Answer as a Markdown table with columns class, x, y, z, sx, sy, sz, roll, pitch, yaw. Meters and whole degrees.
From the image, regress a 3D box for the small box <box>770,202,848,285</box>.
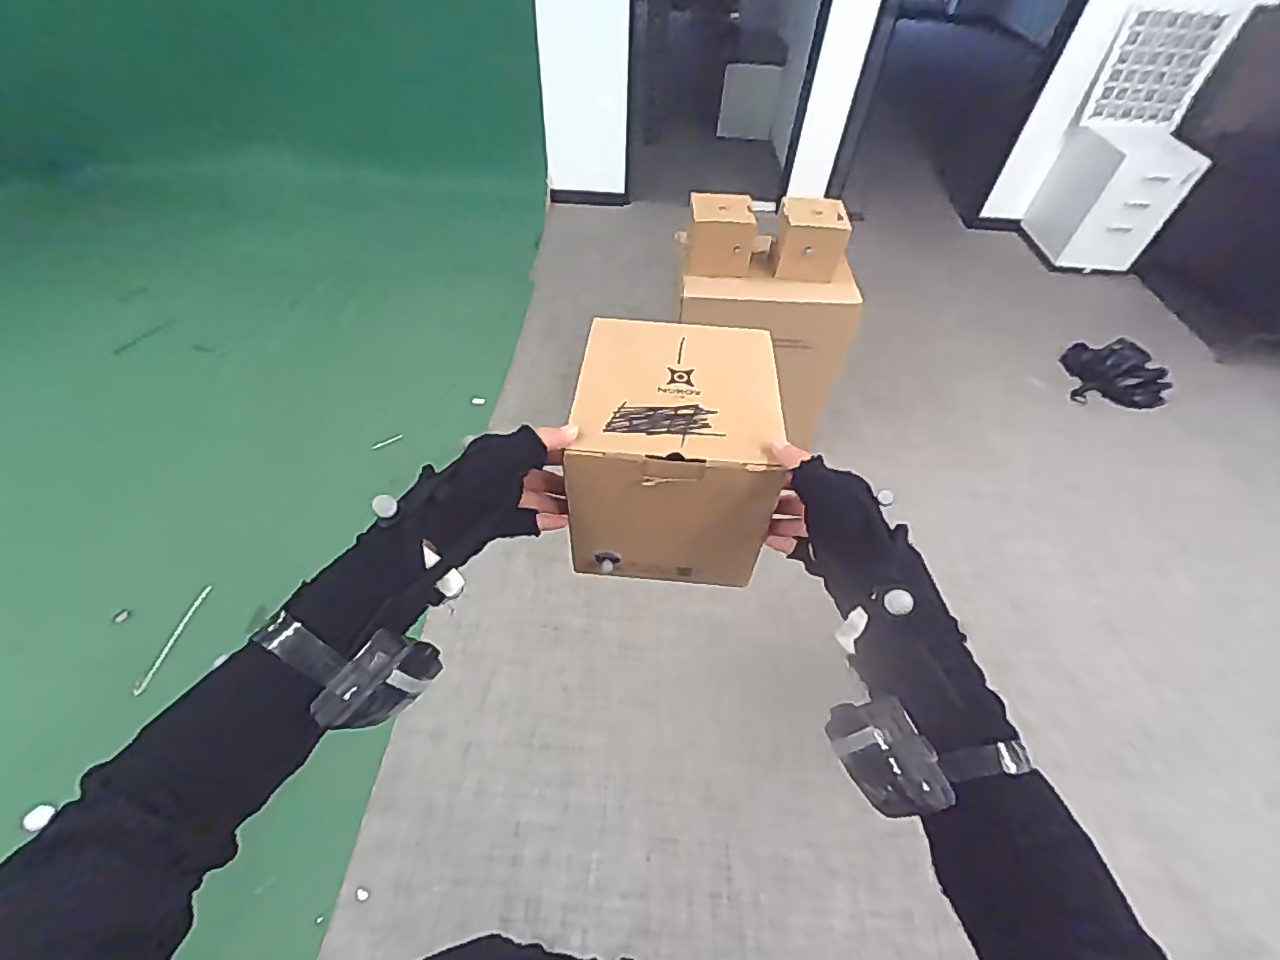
| class | x | y | z | sx | sy | sz | roll | pitch | yaw |
| --- | --- | --- | --- | --- | --- | --- | --- | --- | --- |
| small box | 0.493 | -0.701 | 1.610 | 0.179 | 0.176 | 0.168 | 3 | 54 | -1 |

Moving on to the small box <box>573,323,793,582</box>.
| class | x | y | z | sx | sy | sz | roll | pitch | yaw |
| --- | --- | --- | --- | --- | --- | --- | --- | --- | --- |
| small box | 0.036 | -0.023 | 0.509 | 0.168 | 0.176 | 0.179 | 5 | 48 | 1 |

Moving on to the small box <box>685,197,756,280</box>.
| class | x | y | z | sx | sy | sz | roll | pitch | yaw |
| --- | --- | --- | --- | --- | --- | --- | --- | --- | --- |
| small box | 0.232 | -0.711 | 1.602 | 0.179 | 0.176 | 0.168 | 1 | 52 | -2 |
